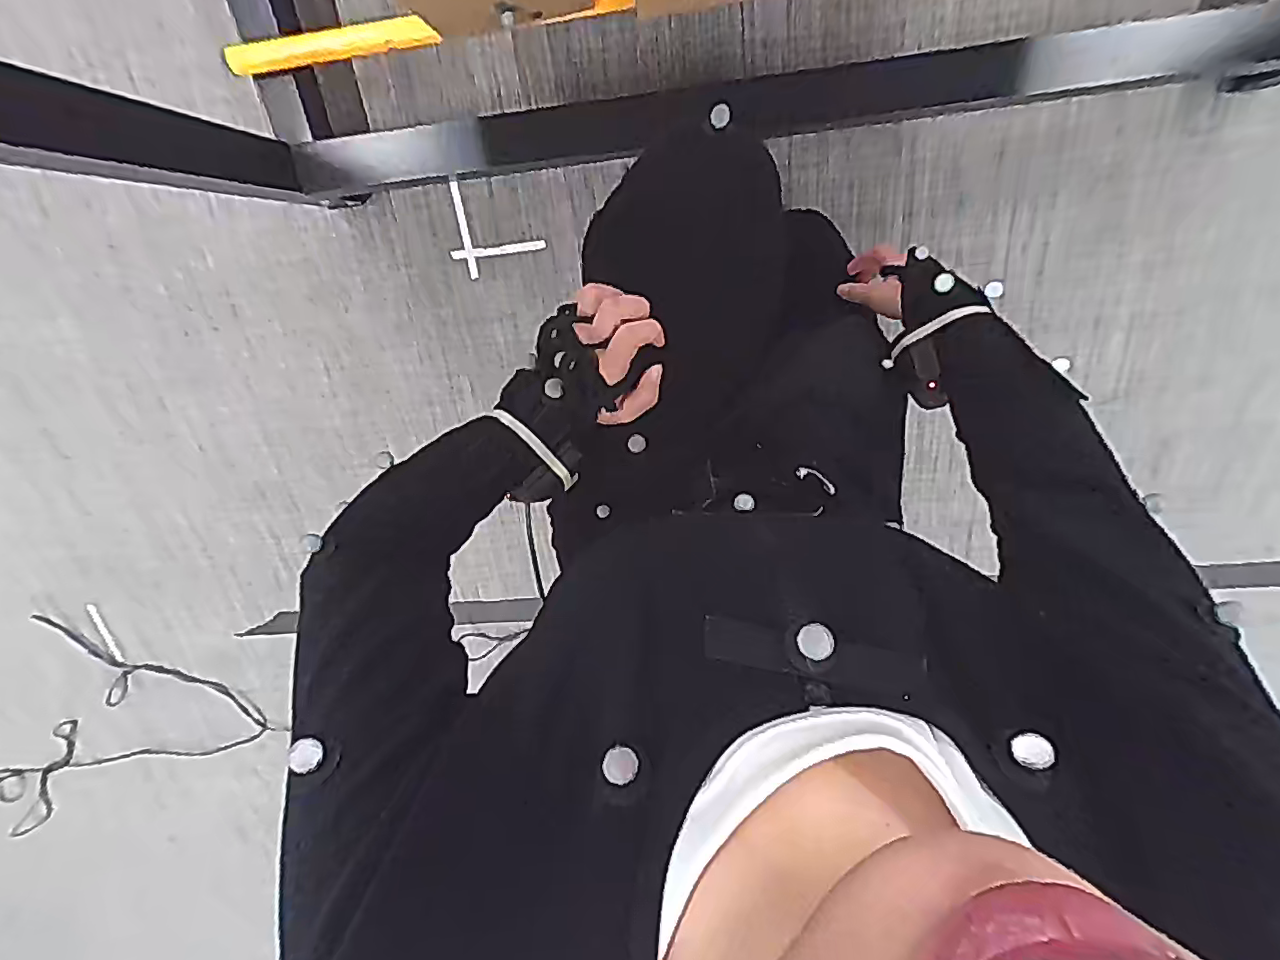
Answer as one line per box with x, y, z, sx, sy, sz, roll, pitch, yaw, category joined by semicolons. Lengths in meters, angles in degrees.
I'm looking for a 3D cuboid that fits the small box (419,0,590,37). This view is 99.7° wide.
-0.142;-0.521;0.453;0.168;0.176;0.179;-7;113;6;small box
